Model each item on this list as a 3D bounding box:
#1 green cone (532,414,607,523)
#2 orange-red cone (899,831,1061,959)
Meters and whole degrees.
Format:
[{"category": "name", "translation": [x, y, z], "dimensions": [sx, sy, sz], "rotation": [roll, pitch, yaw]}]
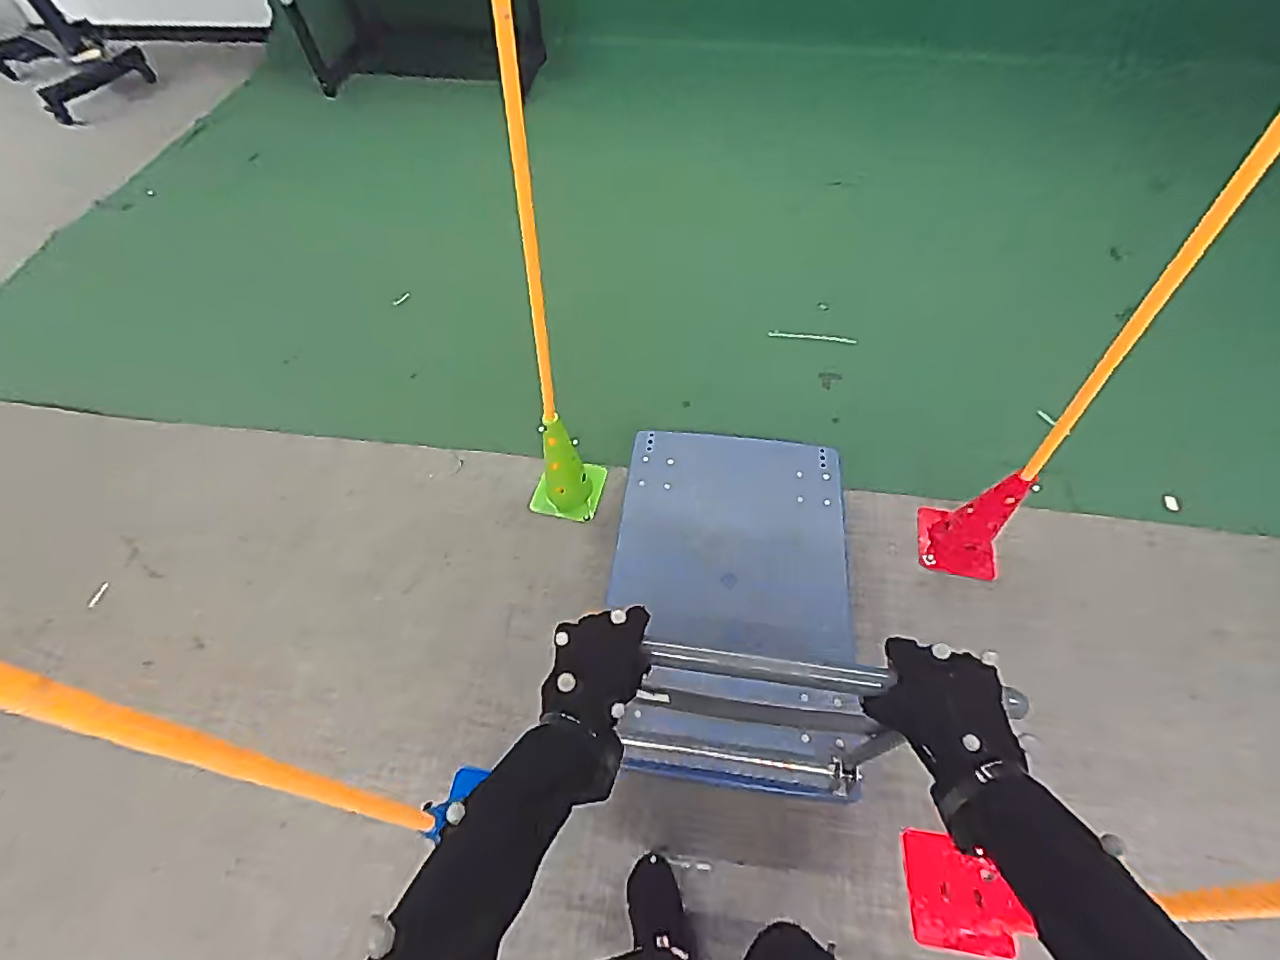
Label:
[{"category": "green cone", "translation": [-0.223, -0.059, 1.538], "dimensions": [0.202, 0.368, 0.200], "rotation": [10, 58, 9]}, {"category": "orange-red cone", "translation": [0.643, 0.769, 0.987], "dimensions": [0.199, 0.360, 0.198], "rotation": [5, 57, 7]}]
